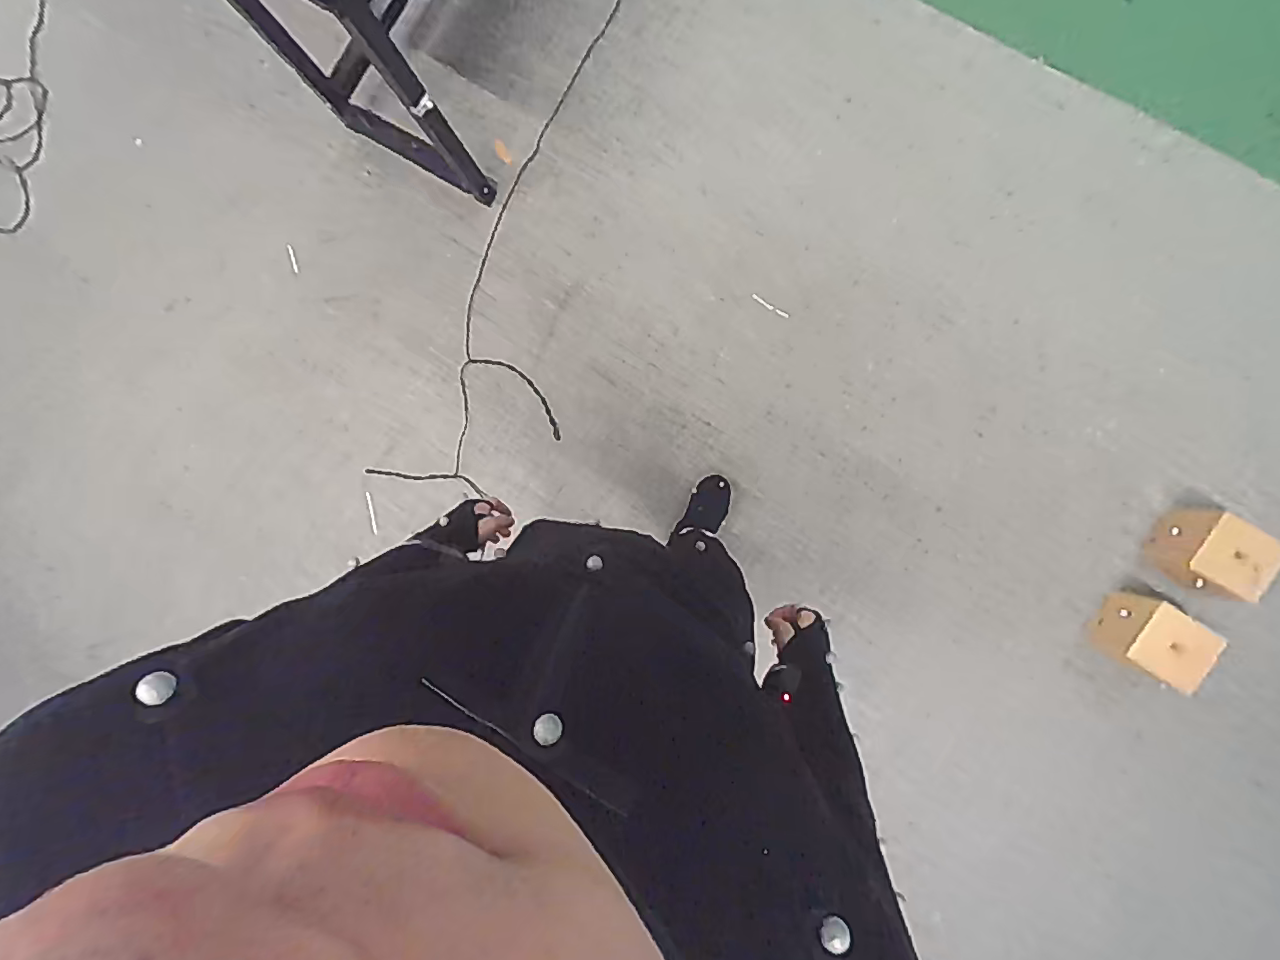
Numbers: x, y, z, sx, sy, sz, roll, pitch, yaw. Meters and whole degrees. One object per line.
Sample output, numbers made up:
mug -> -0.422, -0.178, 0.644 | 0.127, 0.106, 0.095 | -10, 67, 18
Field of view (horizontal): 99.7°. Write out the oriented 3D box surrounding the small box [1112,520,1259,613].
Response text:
small box -> 1.419, 0.218, 1.423 | 0.179, 0.176, 0.168 | 35, 93, 4
